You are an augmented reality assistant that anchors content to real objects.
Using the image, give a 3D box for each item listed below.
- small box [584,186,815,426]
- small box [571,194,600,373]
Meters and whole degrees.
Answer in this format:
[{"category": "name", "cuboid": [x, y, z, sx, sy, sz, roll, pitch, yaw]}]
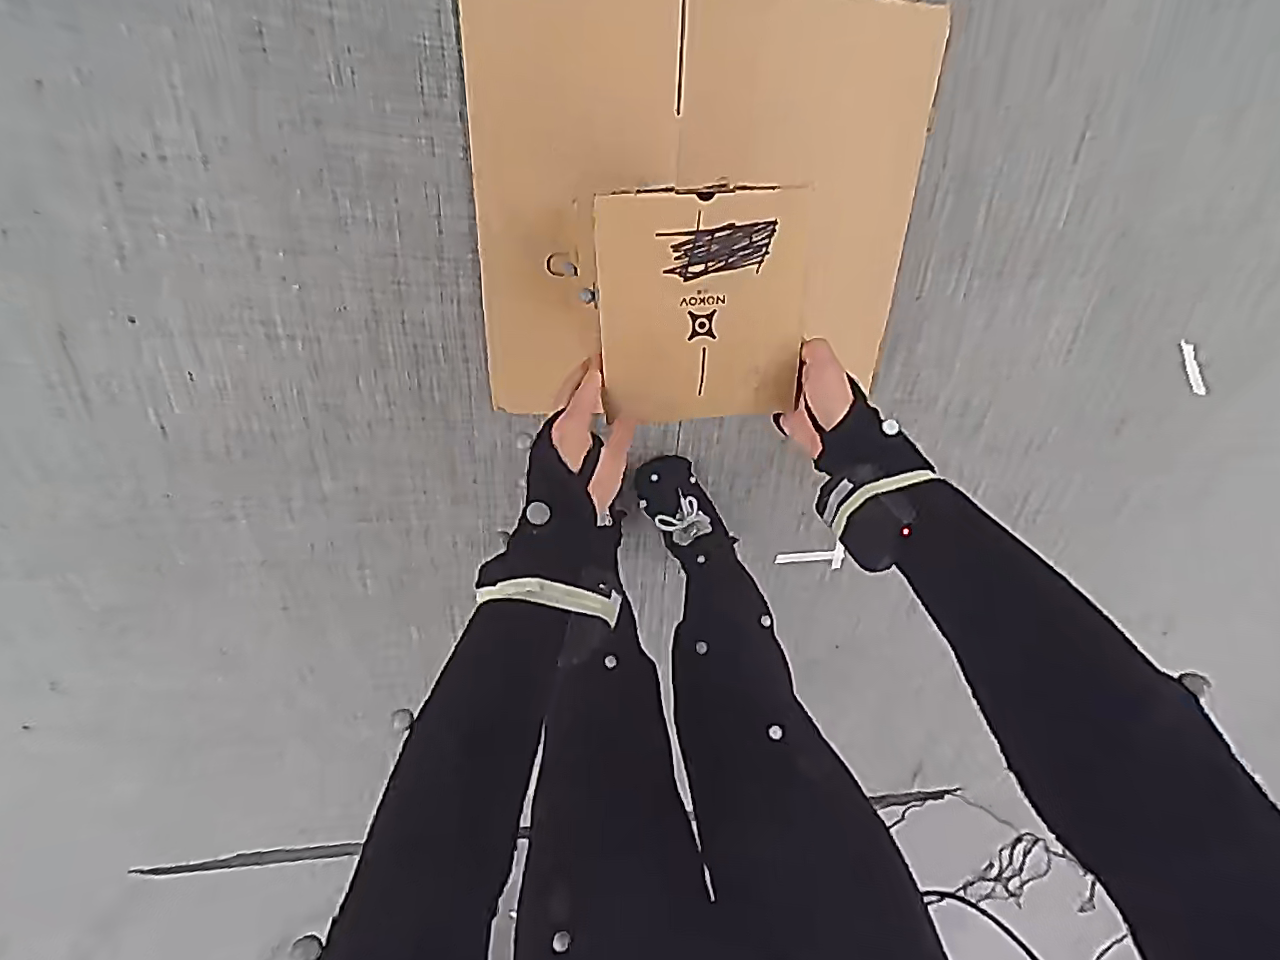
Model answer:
[{"category": "small box", "cuboid": [0.039, -0.163, 0.492, 0.168, 0.176, 0.179, -5, 117, -6]}, {"category": "small box", "cuboid": [0.007, -0.234, 0.638, 0.168, 0.176, 0.179, -4, 115, -6]}]
